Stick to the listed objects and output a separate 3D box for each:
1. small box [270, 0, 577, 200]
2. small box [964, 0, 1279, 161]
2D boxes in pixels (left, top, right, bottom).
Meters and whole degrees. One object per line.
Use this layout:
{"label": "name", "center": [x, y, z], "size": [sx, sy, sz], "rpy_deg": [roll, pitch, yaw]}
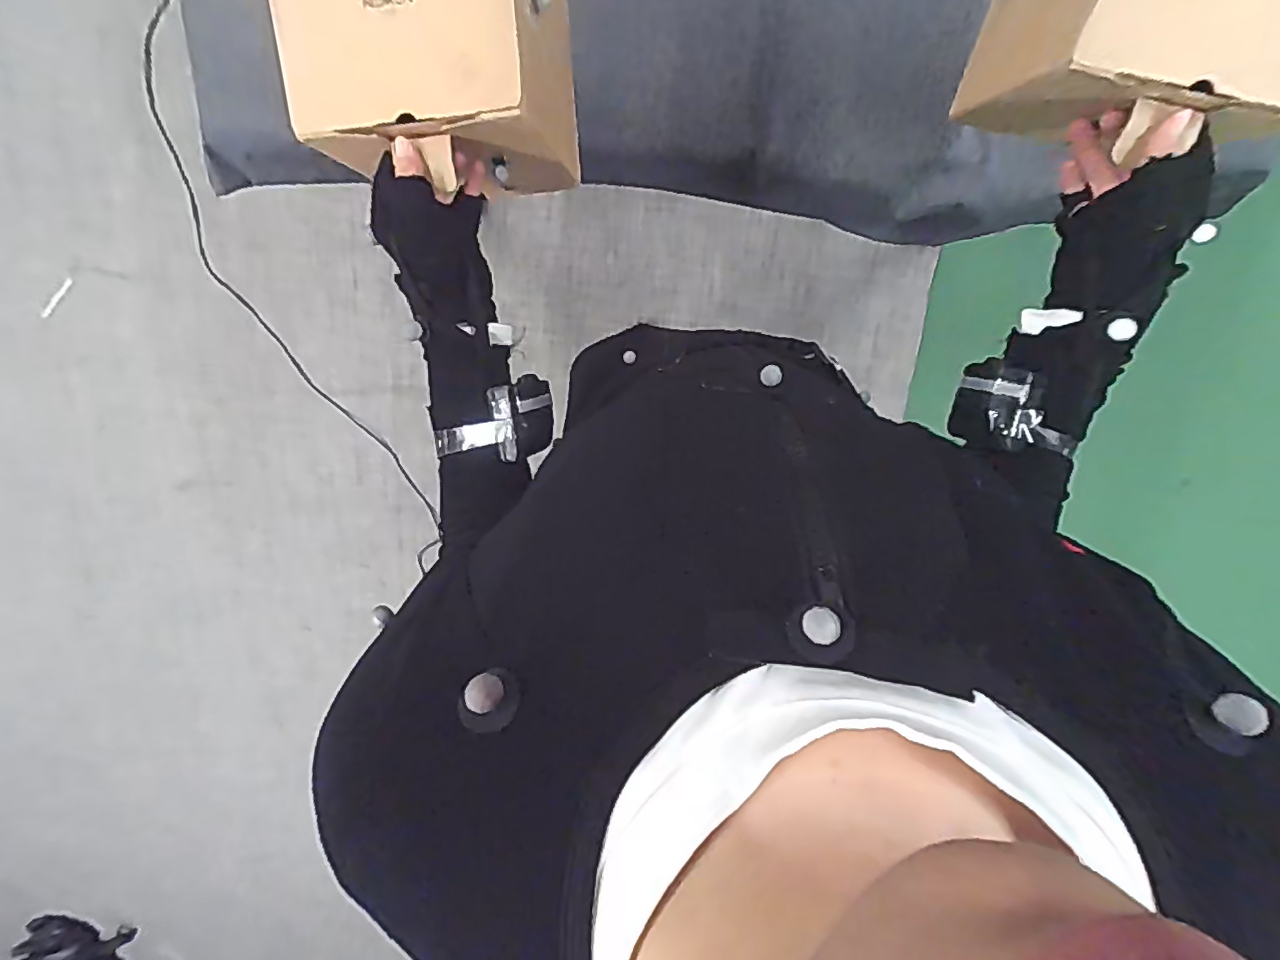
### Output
{"label": "small box", "center": [-0.149, -0.332, 0.417], "size": [0.168, 0.176, 0.179], "rpy_deg": [-2, 101, 6]}
{"label": "small box", "center": [0.359, -0.335, 0.366], "size": [0.168, 0.176, 0.179], "rpy_deg": [13, 115, -2]}
